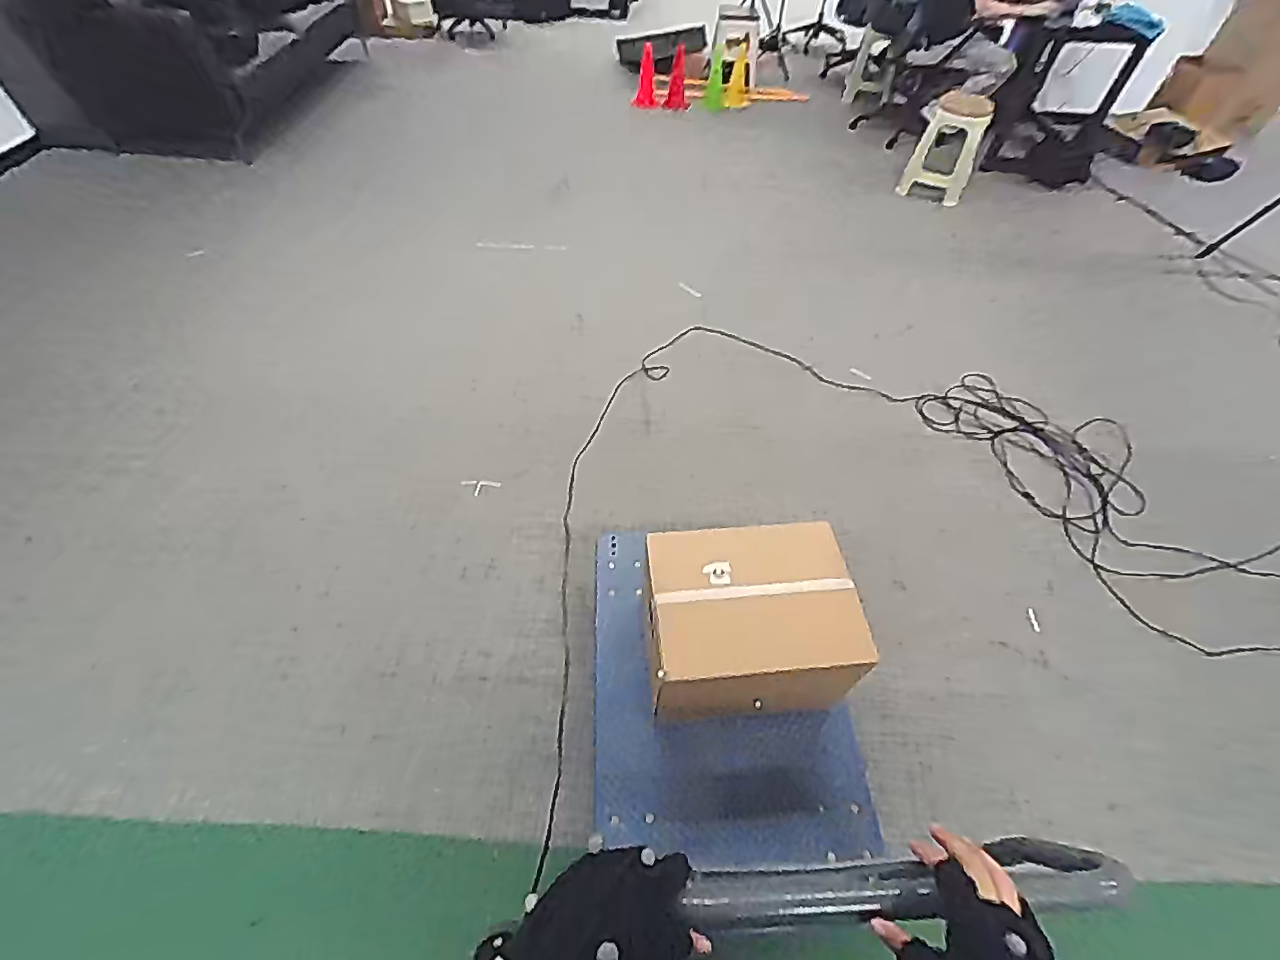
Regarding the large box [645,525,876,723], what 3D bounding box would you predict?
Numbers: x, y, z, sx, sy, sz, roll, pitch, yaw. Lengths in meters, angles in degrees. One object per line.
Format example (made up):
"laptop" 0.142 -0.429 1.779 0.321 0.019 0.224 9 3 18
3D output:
"large box" 0.227 0.323 1.195 0.408 0.320 0.320 -4 52 -4
